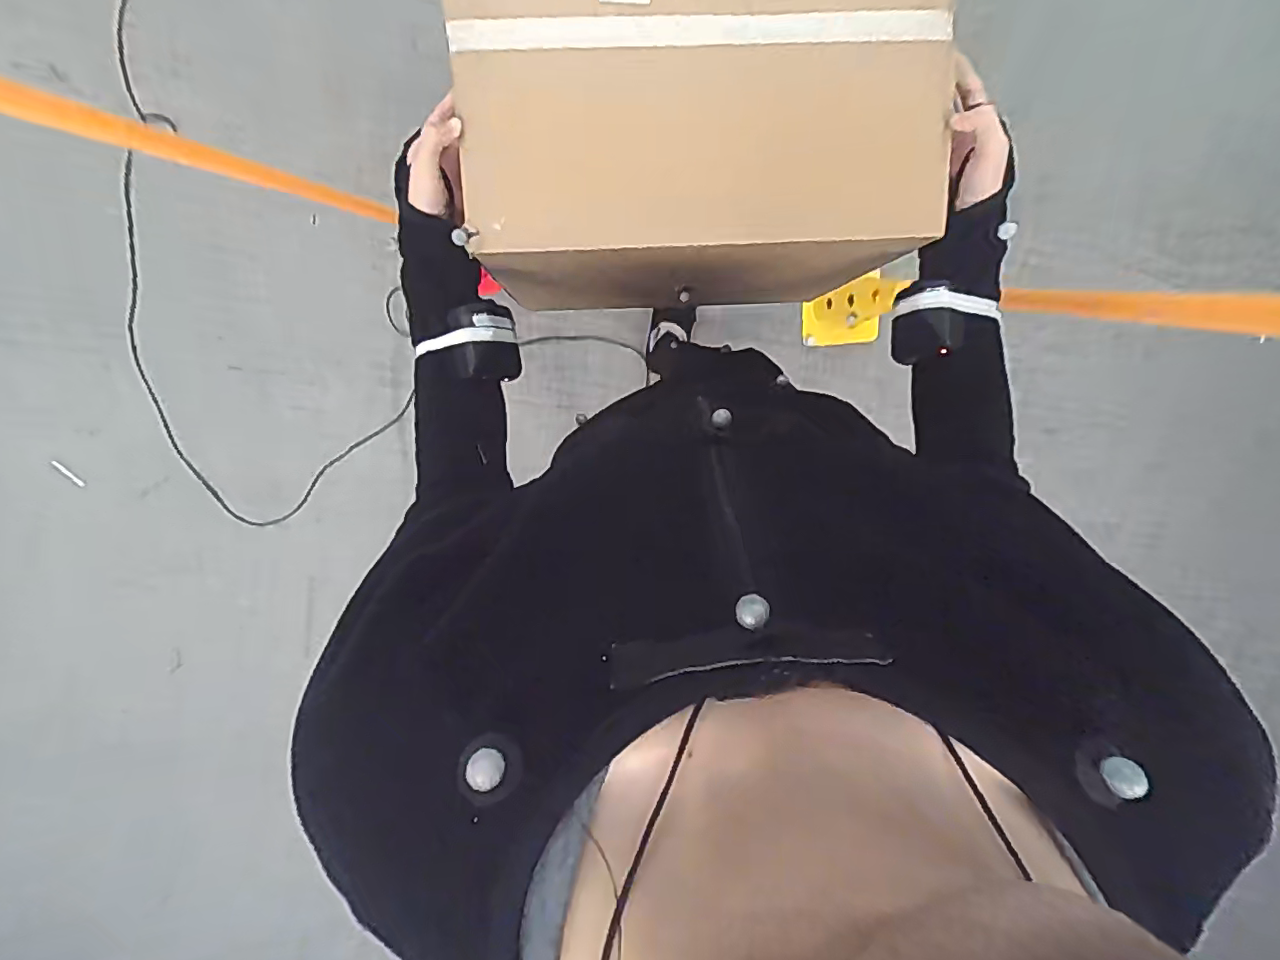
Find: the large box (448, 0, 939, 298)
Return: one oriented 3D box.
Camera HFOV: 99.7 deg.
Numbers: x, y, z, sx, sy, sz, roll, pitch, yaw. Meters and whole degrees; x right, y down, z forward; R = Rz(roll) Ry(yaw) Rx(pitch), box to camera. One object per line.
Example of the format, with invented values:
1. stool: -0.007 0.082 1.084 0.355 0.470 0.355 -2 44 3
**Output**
1. large box: 0.042 -0.386 0.585 0.408 0.320 0.320 -3 99 -2
